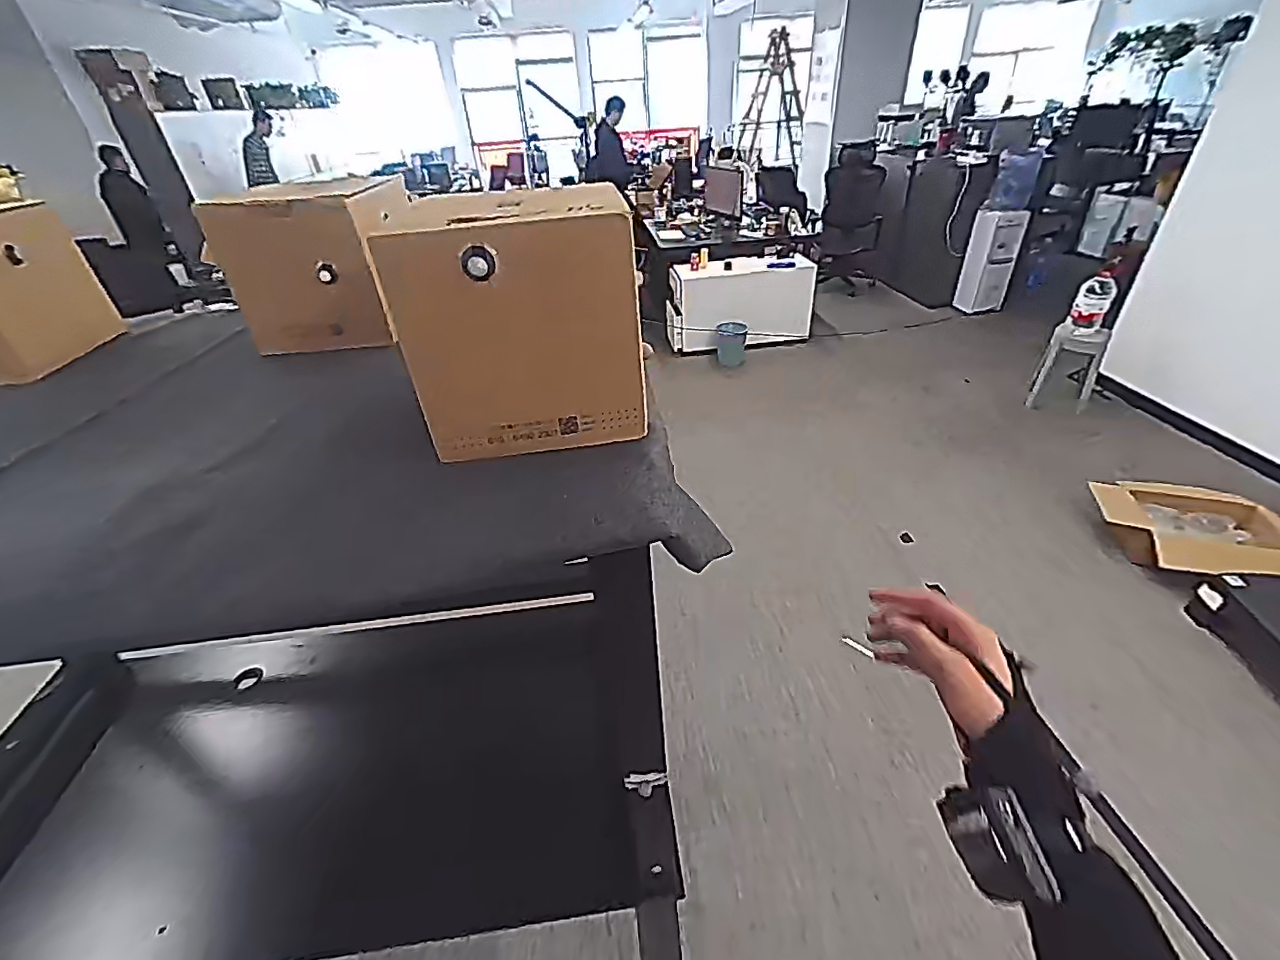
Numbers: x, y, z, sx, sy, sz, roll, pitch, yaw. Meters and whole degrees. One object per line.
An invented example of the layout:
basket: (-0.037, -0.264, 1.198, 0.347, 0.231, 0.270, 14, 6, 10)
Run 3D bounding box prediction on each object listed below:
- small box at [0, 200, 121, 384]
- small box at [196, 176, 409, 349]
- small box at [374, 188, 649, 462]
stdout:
small box: (-0.786, -0.217, 0.637, 0.168, 0.176, 0.179, -6, 36, -4)
small box: (-0.378, -0.268, 0.672, 0.168, 0.176, 0.179, -3, 35, 0)
small box: (-0.086, -0.133, 0.446, 0.168, 0.176, 0.179, -7, 34, -3)
